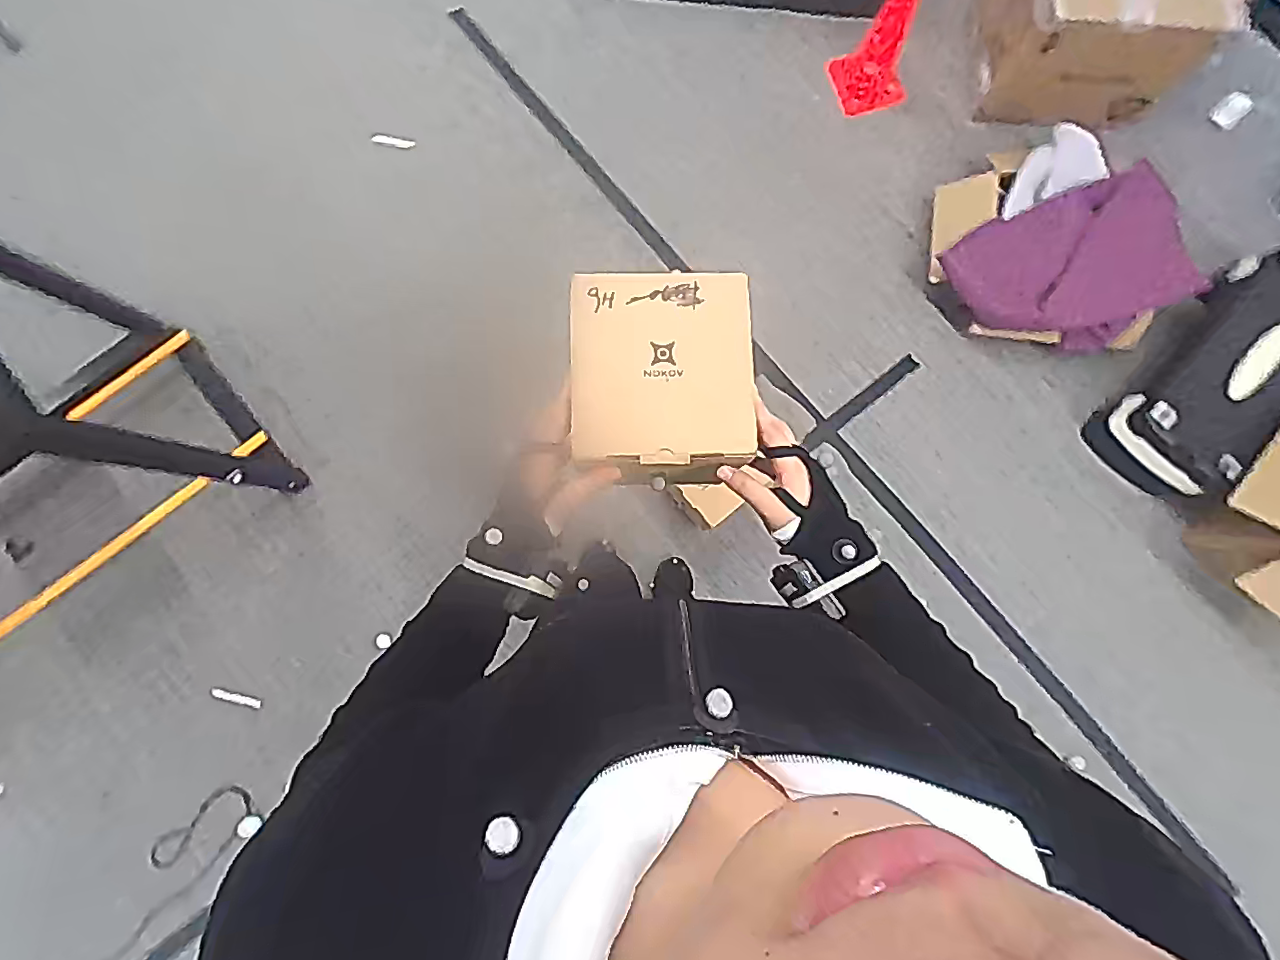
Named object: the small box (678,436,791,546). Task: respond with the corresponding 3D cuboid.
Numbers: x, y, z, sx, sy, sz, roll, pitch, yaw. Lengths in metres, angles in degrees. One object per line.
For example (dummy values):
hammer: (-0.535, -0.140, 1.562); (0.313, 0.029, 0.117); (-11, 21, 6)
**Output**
small box: (0.199, 0.031, 1.205); (0.179, 0.176, 0.168); (-40, 84, -4)
